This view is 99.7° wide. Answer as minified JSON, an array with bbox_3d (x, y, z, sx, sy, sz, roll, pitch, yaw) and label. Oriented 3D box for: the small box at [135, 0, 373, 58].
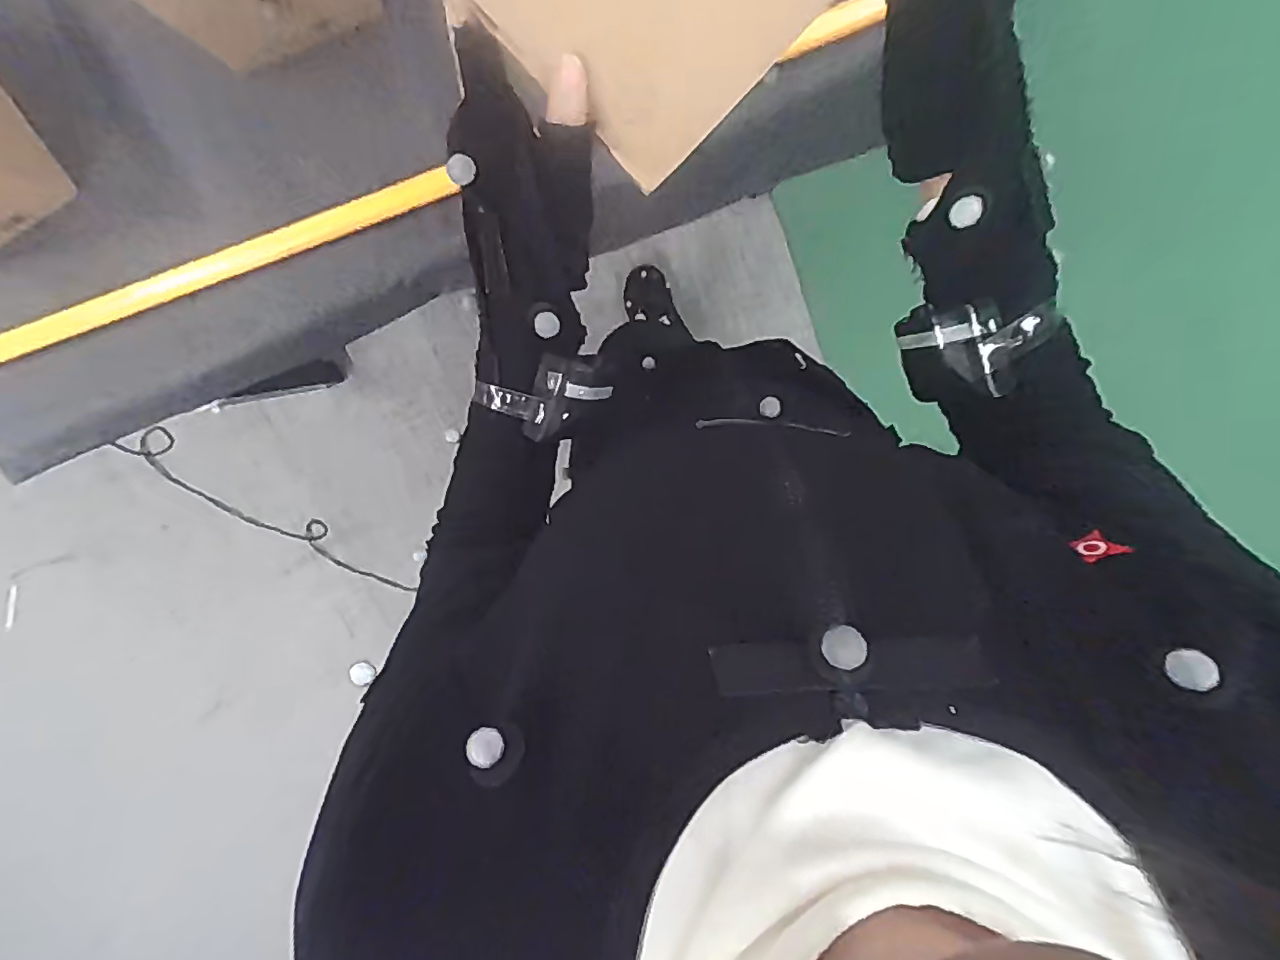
[{"bbox_3d":[-0.362,-0.502,0.452,0.168,0.176,0.179,-23,104,5],"label":"small box"}]
